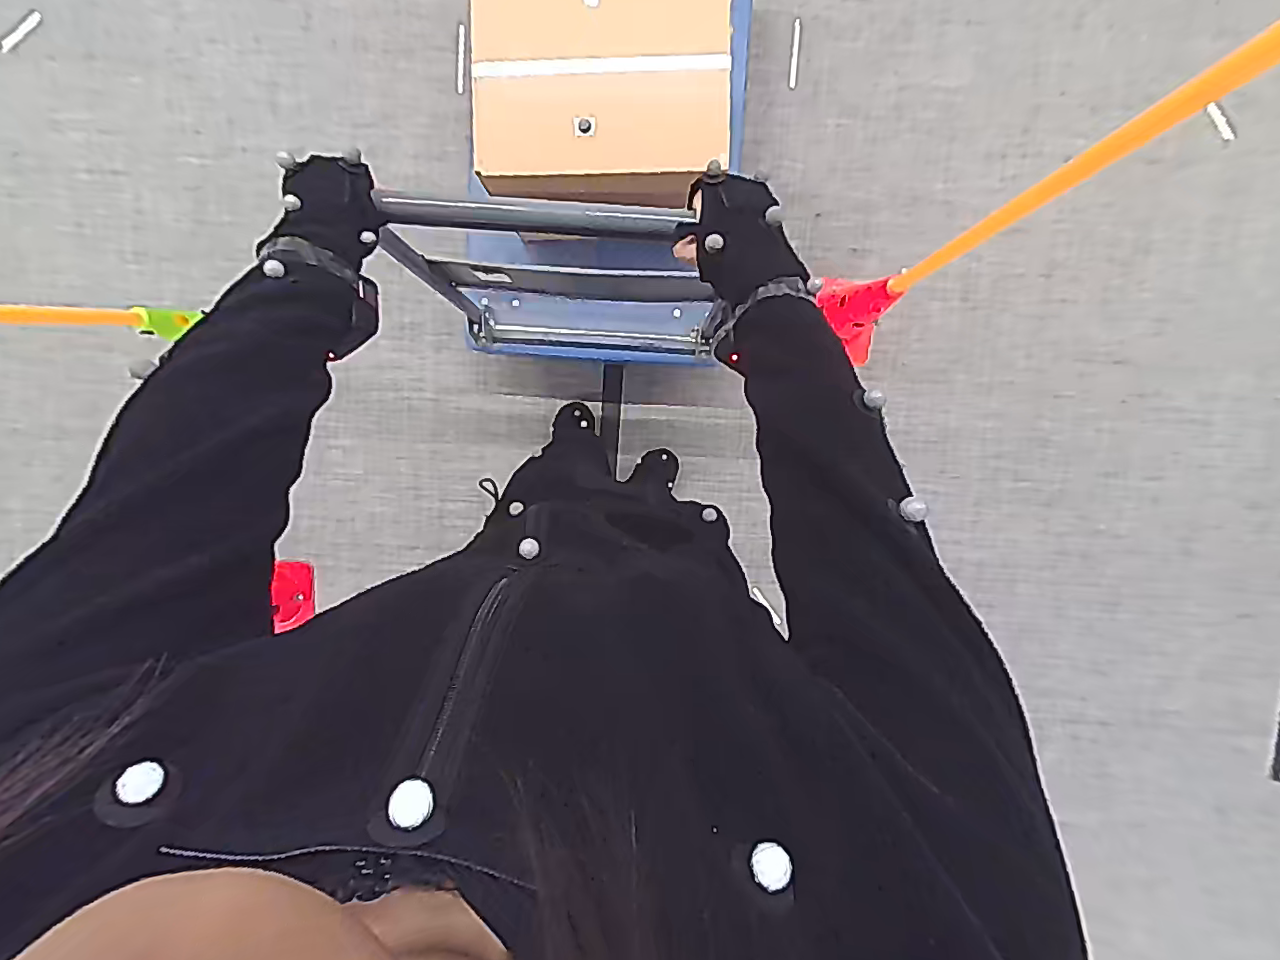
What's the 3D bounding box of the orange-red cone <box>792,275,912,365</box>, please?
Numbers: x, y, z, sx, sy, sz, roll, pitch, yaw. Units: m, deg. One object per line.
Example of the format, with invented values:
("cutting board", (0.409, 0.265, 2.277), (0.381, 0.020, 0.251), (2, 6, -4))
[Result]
("orange-red cone", (0.489, -0.377, 1.173), (0.199, 0.360, 0.198), (10, 97, -1))
